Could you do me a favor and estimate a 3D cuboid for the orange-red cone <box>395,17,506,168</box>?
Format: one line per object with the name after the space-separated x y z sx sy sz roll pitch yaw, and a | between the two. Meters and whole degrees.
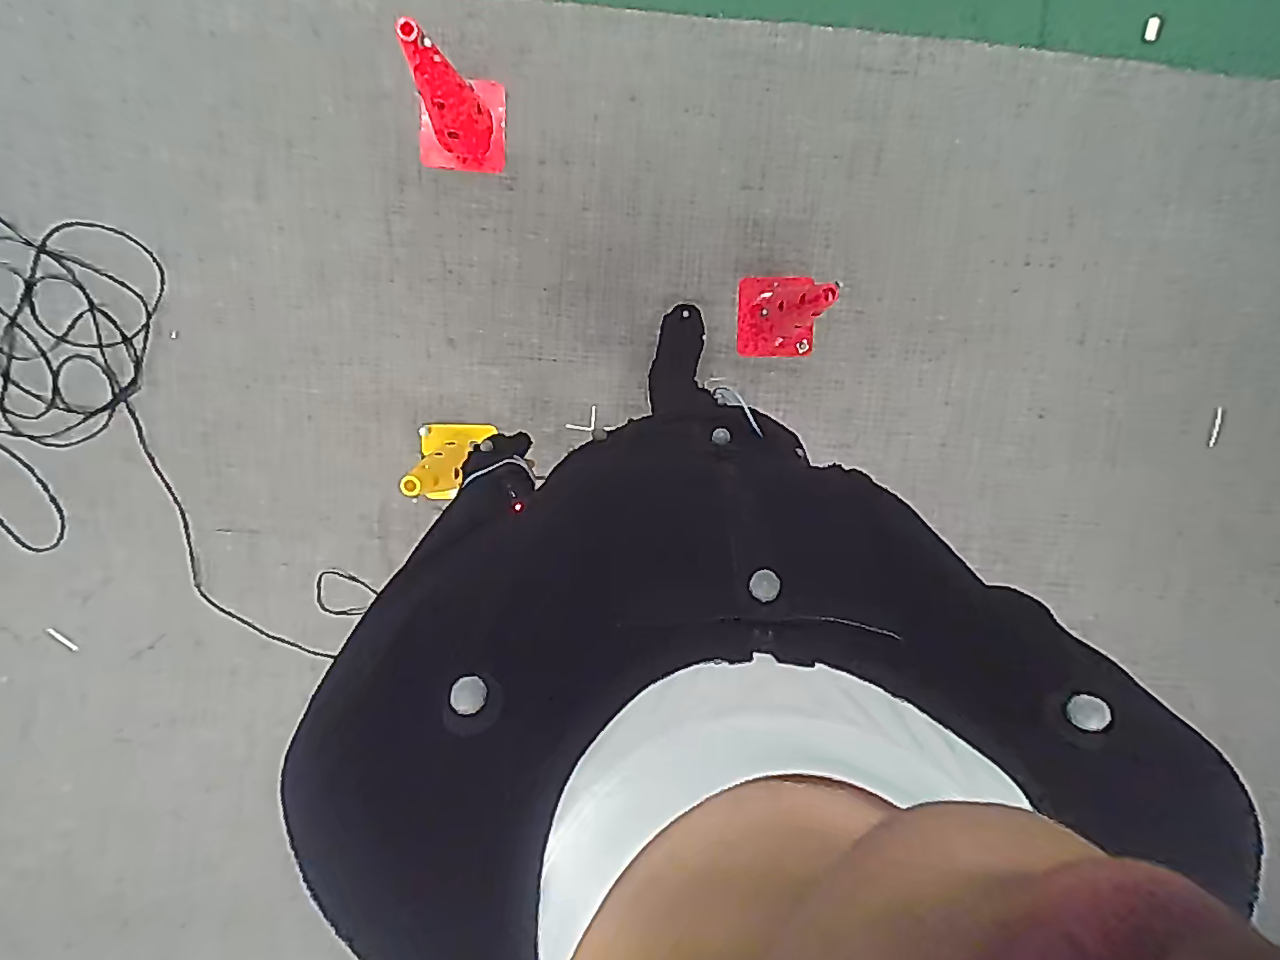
-0.417 -0.827 1.126 0.198 0.360 0.199 4 101 -2 | orange-red cone

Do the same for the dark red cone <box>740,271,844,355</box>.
0.362 -0.397 1.208 0.202 0.394 0.201 -2 99 -2 | dark red cone

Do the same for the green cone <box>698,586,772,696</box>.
0.273 0.429 1.374 0.202 0.368 0.200 2 99 -1 | green cone
